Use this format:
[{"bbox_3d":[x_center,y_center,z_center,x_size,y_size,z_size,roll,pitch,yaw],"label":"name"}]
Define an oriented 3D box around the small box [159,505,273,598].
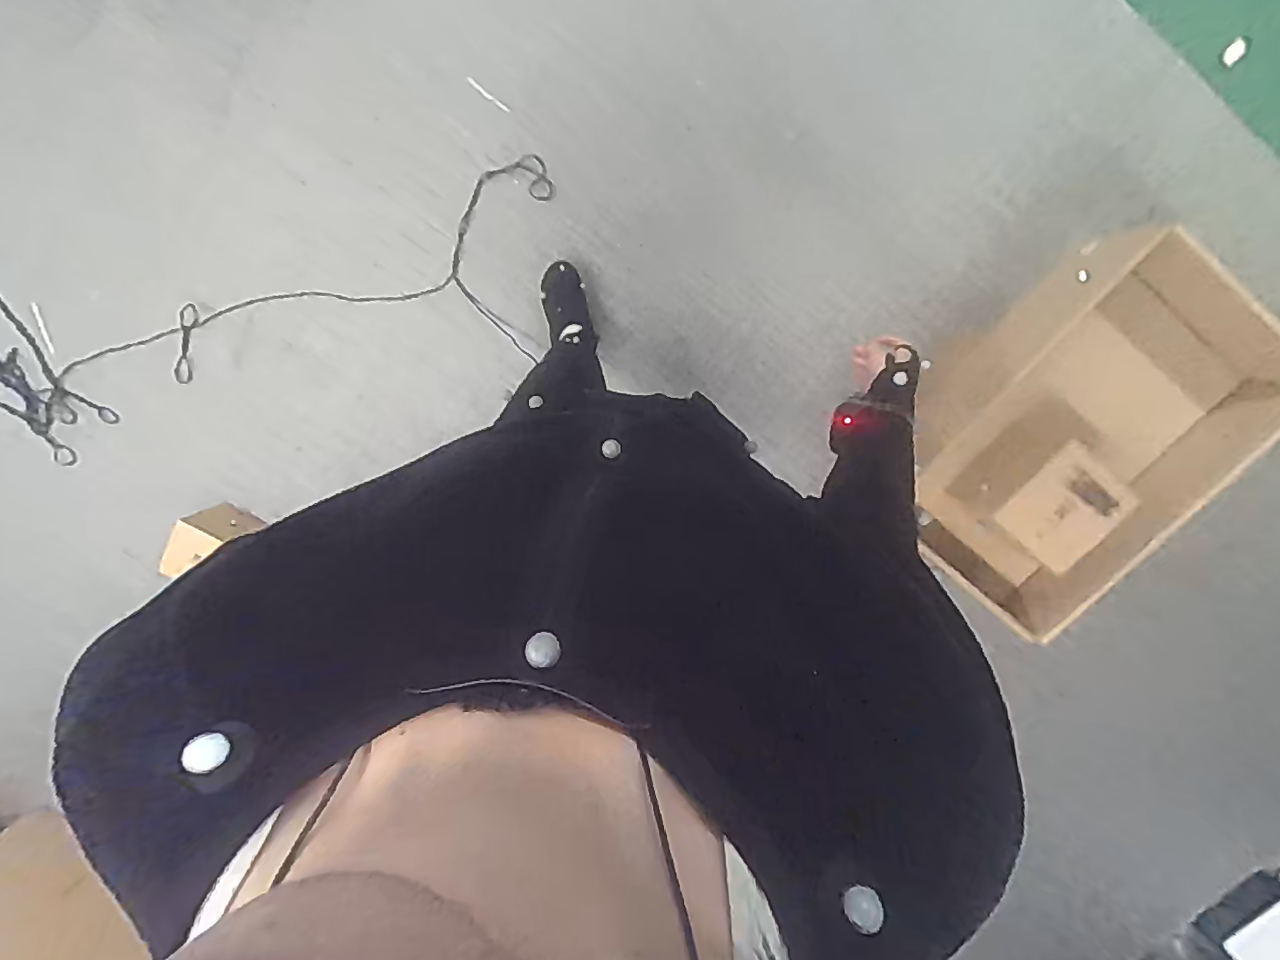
[{"bbox_3d":[-1.190,0.193,1.531,0.168,0.176,0.179,30,103,-5],"label":"small box"}]
